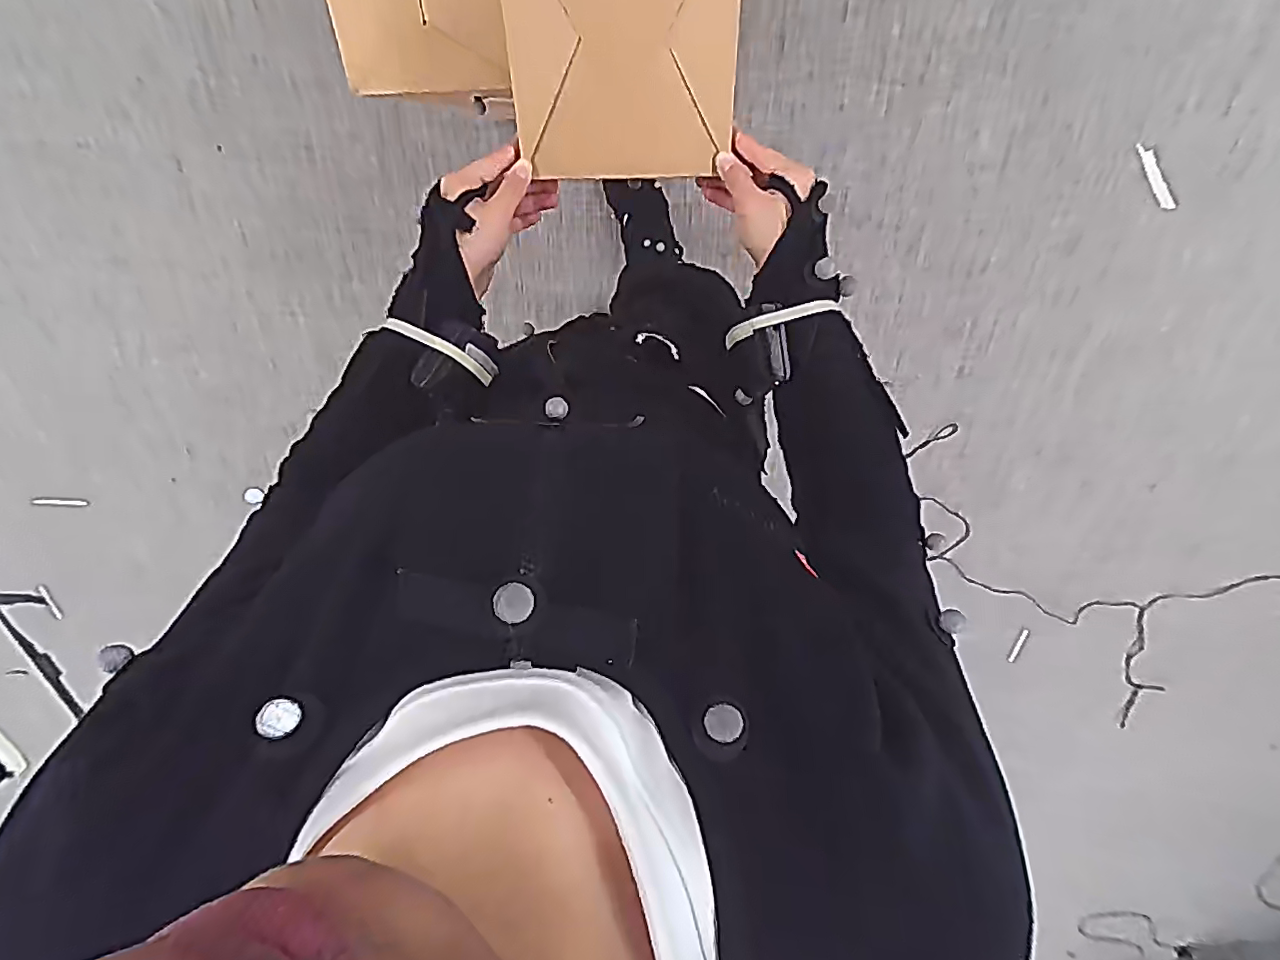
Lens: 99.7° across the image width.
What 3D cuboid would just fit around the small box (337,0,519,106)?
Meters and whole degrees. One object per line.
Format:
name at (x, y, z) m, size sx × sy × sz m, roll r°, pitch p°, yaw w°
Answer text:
small box at (-0.202, -0.496, 0.560) m, size 0.179 × 0.176 × 0.168 m, roll -1°, pitch 123°, yaw 2°

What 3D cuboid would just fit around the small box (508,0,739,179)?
small box at (-0.012, -0.361, 0.457) m, size 0.168 × 0.176 × 0.179 m, roll -1°, pitch 124°, yaw 0°
